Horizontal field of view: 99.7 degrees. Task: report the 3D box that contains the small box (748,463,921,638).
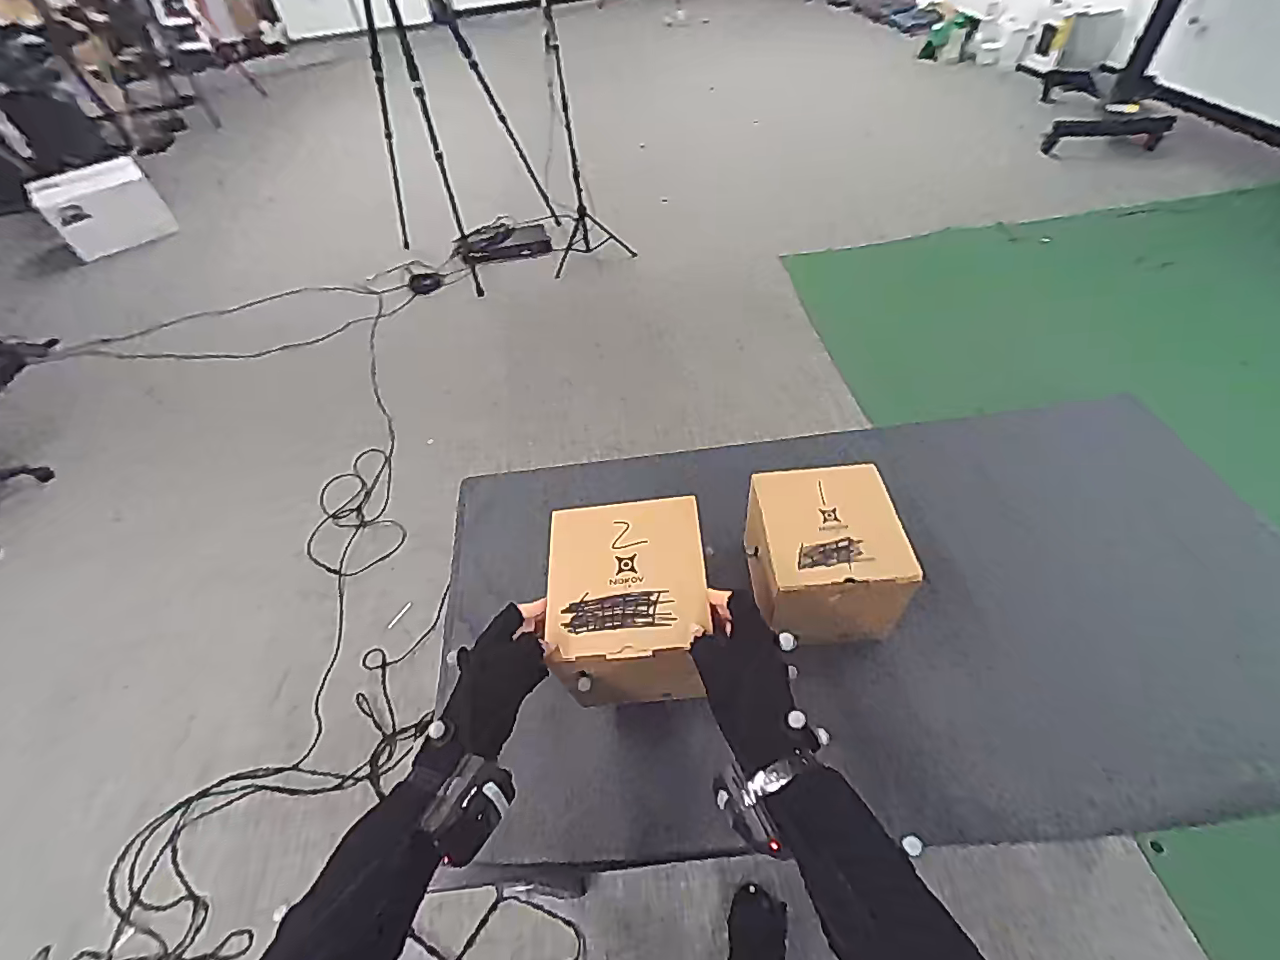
[{"bbox_3d":[0.243,0.101,0.726,0.168,0.176,0.179,-5,49,3],"label":"small box"}]
